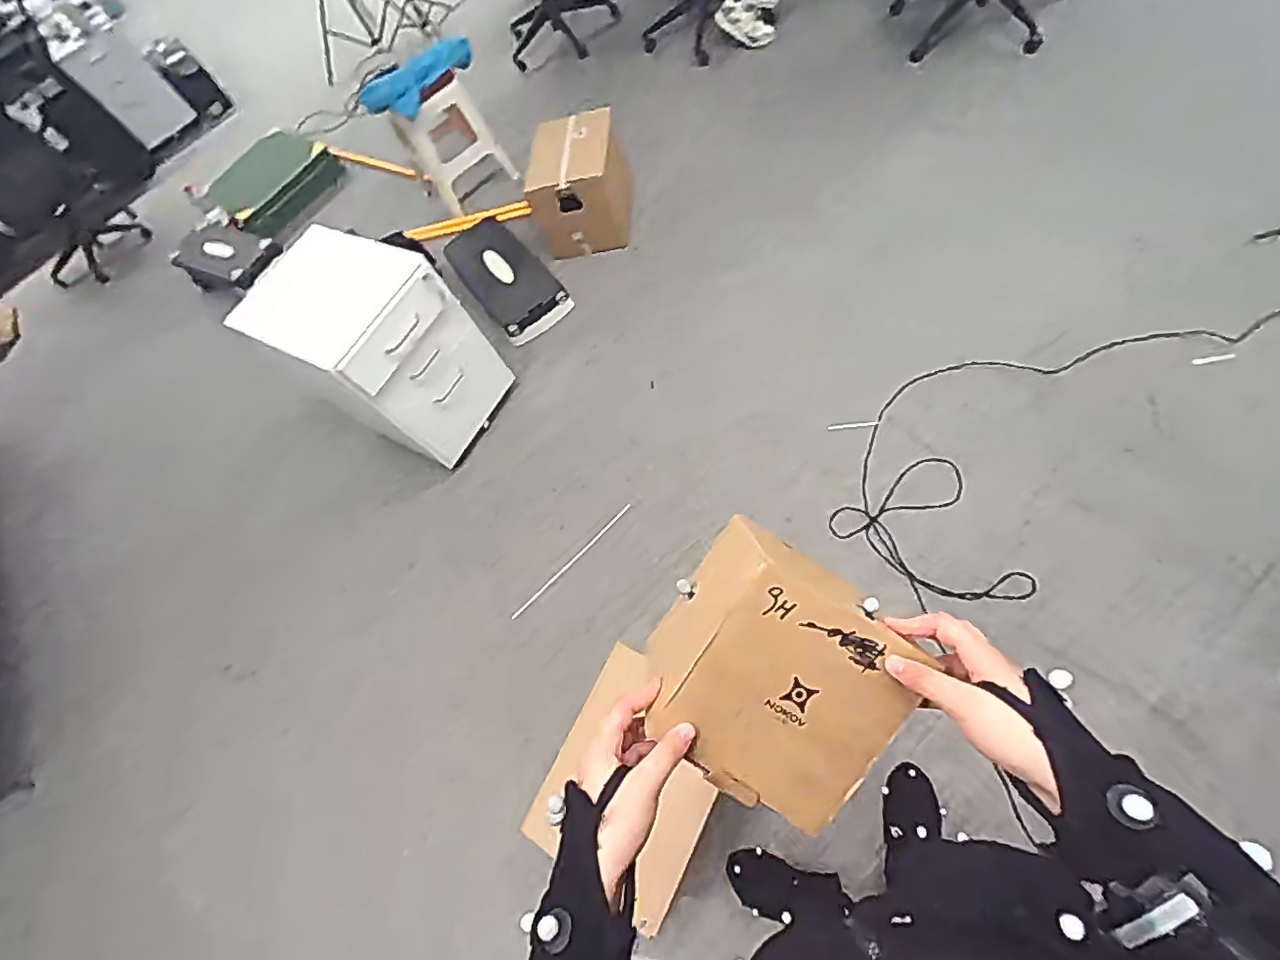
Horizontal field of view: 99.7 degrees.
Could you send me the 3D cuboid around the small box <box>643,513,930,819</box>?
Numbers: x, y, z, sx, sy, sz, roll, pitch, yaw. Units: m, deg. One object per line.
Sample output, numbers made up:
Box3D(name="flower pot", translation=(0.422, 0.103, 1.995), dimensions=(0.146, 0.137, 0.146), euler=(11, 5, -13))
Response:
Box3D(name="small box", translation=(0.120, 0.156, 0.511), dimensions=(0.168, 0.176, 0.179), euler=(32, 99, -2))
